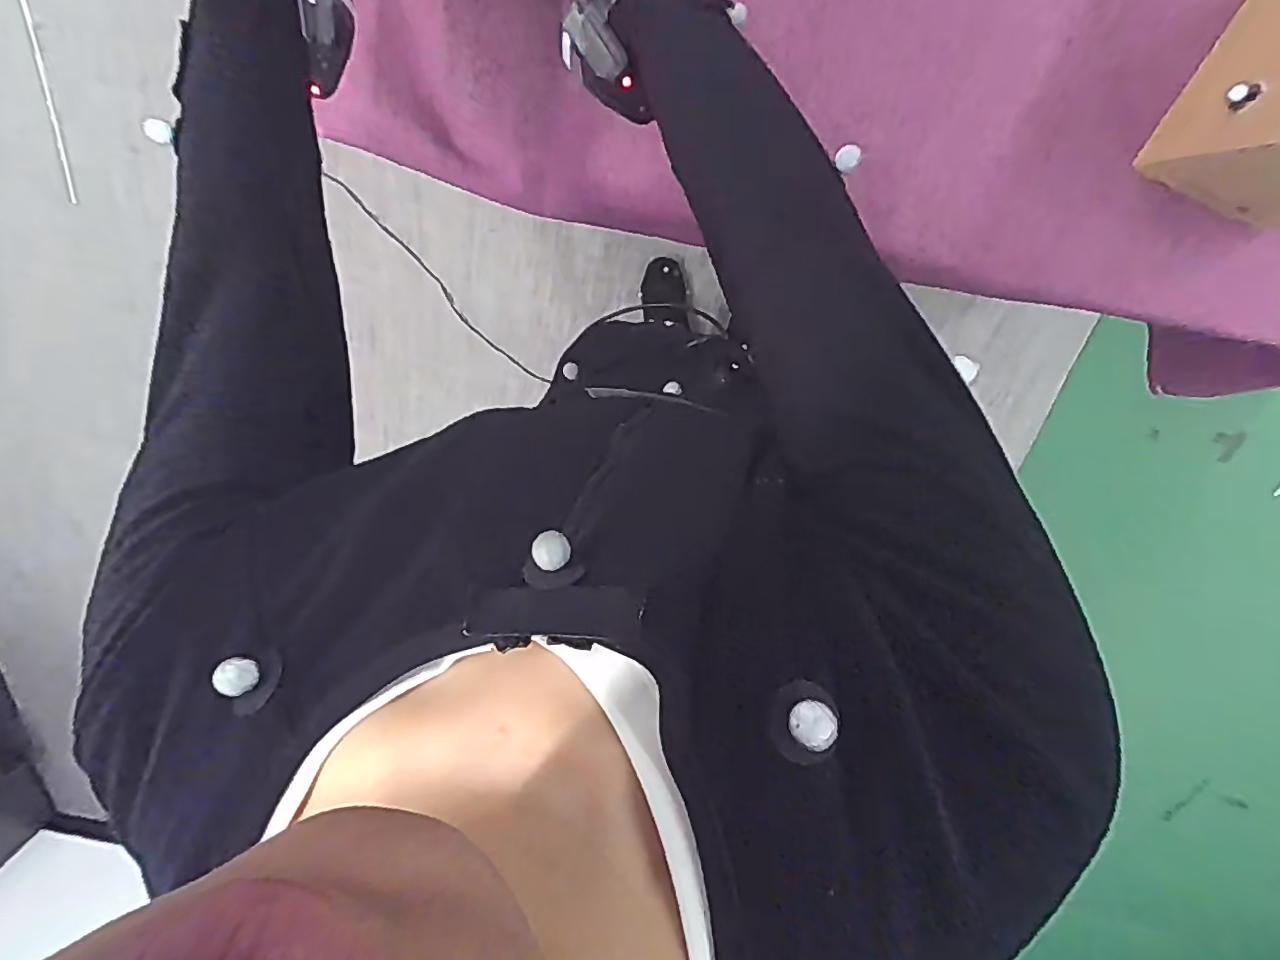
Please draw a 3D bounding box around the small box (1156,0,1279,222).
[{"bbox_3d":[0.589,-0.325,0.437,0.168,0.176,0.179,22,115,-5],"label":"small box"}]
